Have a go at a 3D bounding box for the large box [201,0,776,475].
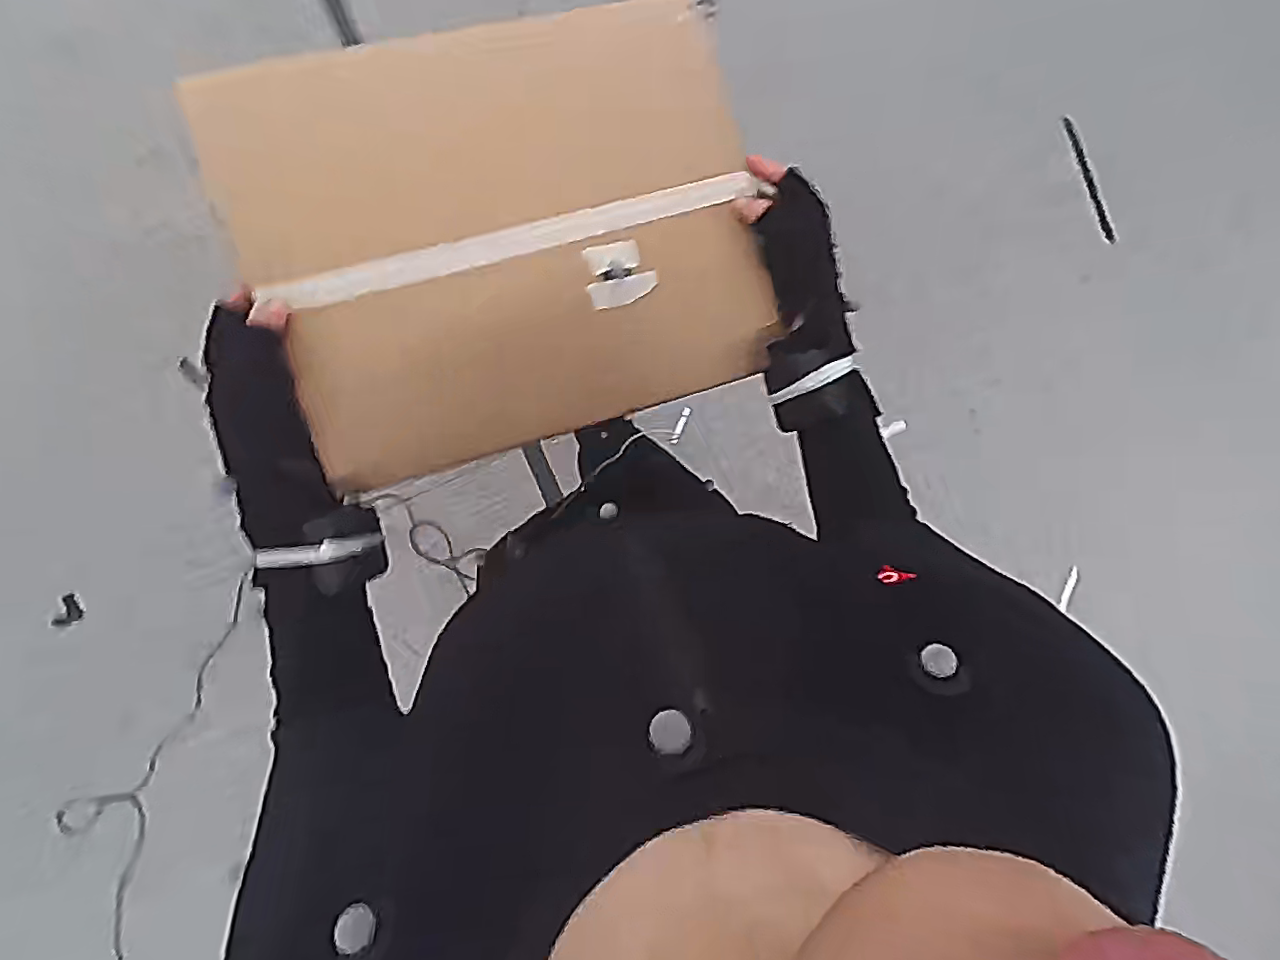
[{"bbox_3d":[-0.129,-0.223,0.596,0.408,0.320,0.320,-18,101,-10],"label":"large box"}]
